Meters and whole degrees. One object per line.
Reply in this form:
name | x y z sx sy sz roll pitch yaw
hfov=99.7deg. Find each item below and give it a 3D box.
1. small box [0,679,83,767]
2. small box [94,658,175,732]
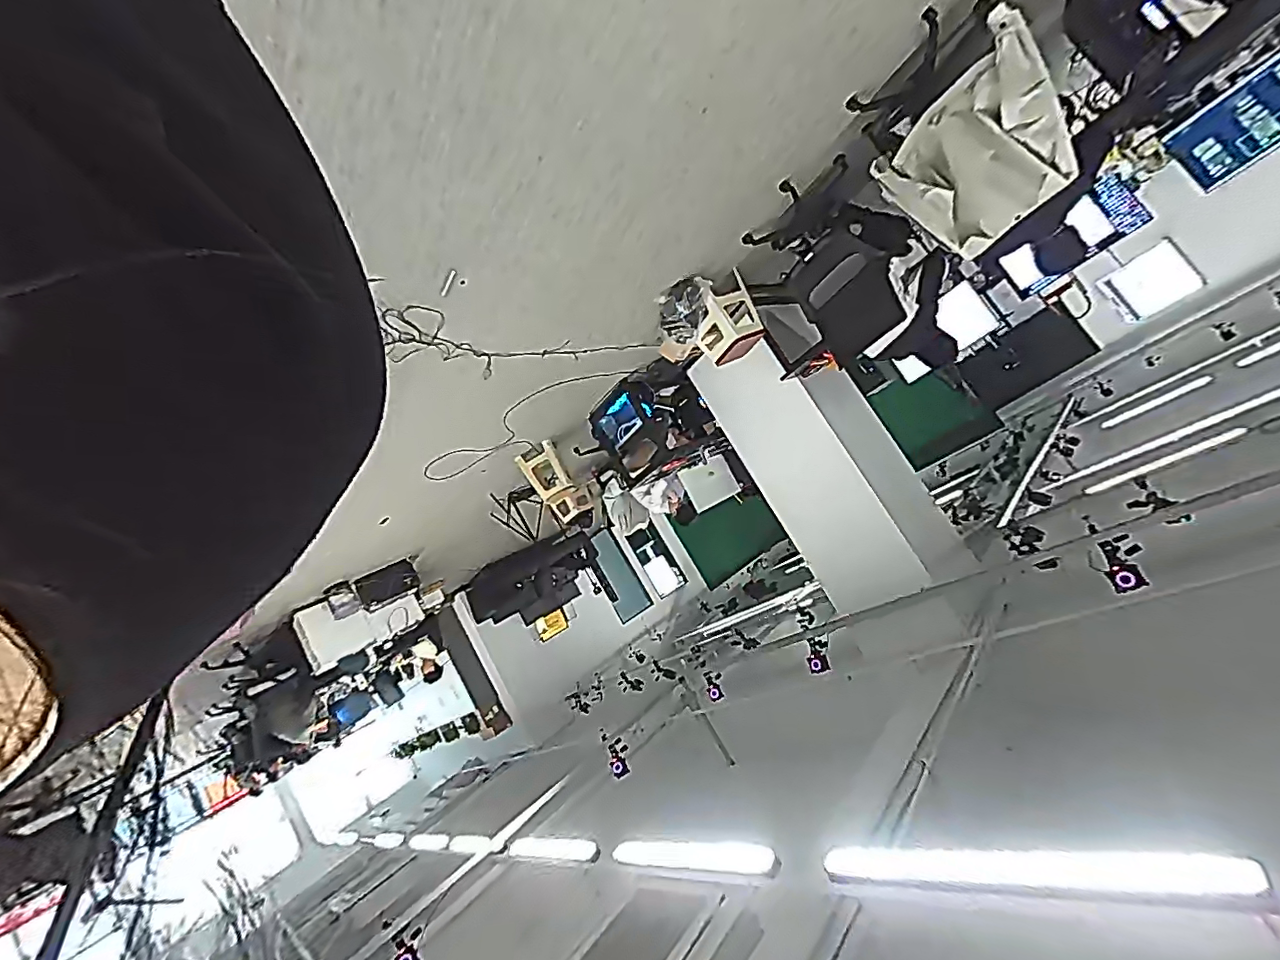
small box | -1.811 0.717 1.609 0.168 0.176 0.179 -22 168 -45
small box | -1.772 0.749 1.898 0.168 0.176 0.179 -22 165 -44
